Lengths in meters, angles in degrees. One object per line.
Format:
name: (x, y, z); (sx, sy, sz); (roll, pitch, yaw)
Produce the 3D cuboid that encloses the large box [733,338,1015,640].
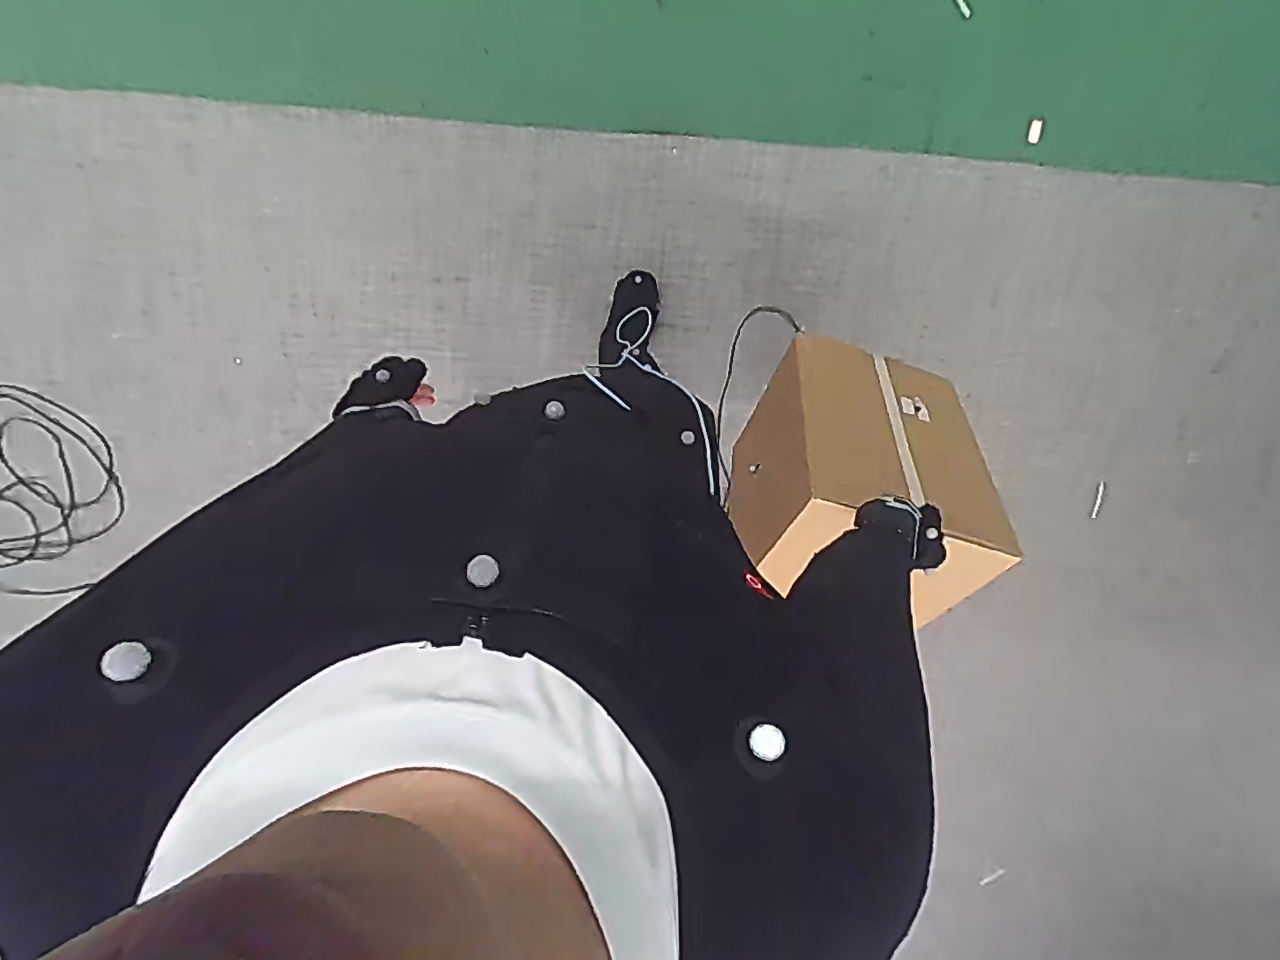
large box: (0.366, 0.016, 0.977); (0.320, 0.408, 0.320); (17, 136, -5)
